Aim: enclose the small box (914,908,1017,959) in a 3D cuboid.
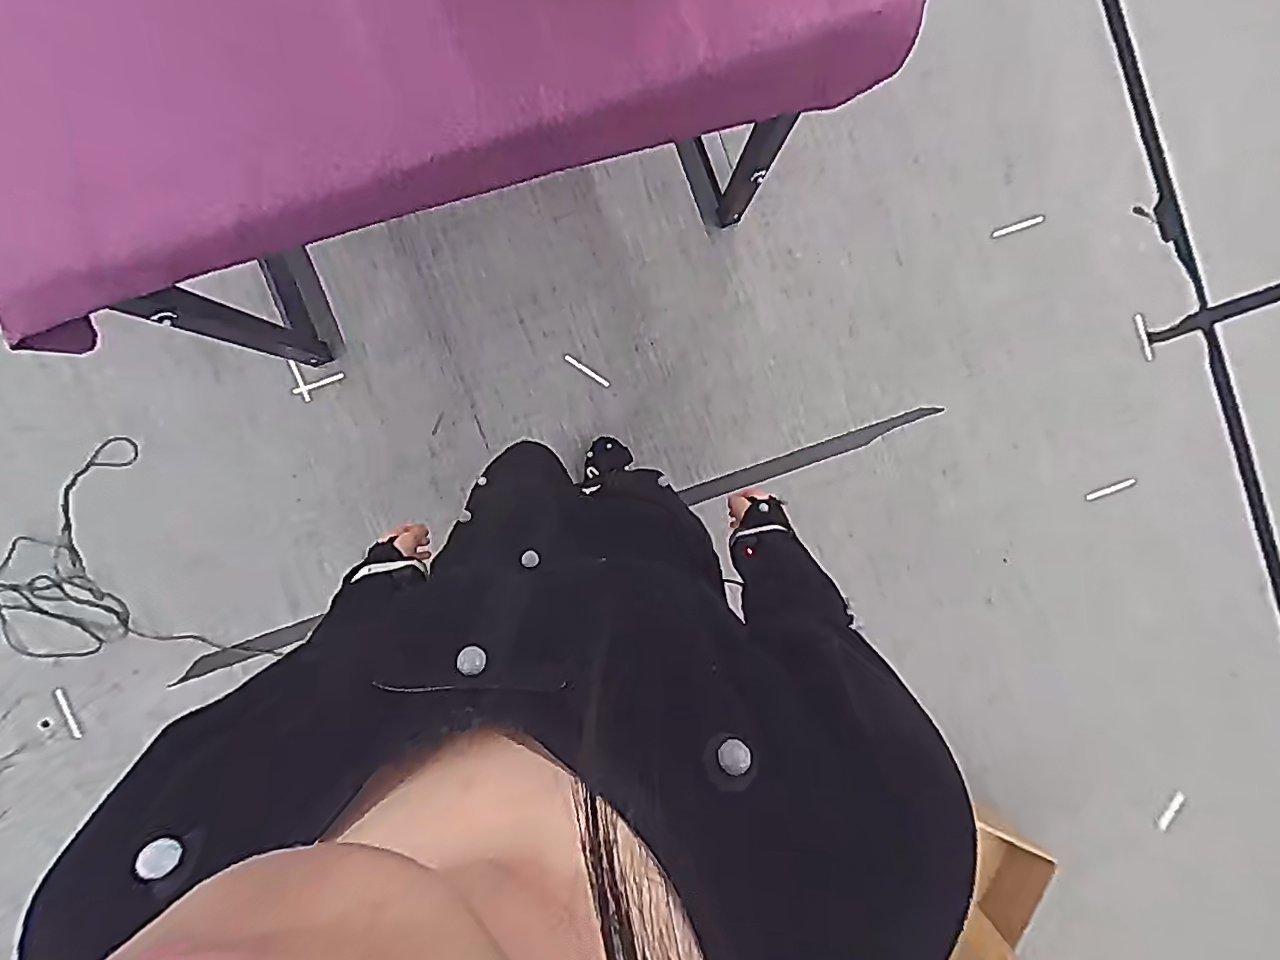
[{"bbox_3d":[0.817,1.203,1.317,0.179,0.176,0.168,28,90,-5],"label":"small box"}]
